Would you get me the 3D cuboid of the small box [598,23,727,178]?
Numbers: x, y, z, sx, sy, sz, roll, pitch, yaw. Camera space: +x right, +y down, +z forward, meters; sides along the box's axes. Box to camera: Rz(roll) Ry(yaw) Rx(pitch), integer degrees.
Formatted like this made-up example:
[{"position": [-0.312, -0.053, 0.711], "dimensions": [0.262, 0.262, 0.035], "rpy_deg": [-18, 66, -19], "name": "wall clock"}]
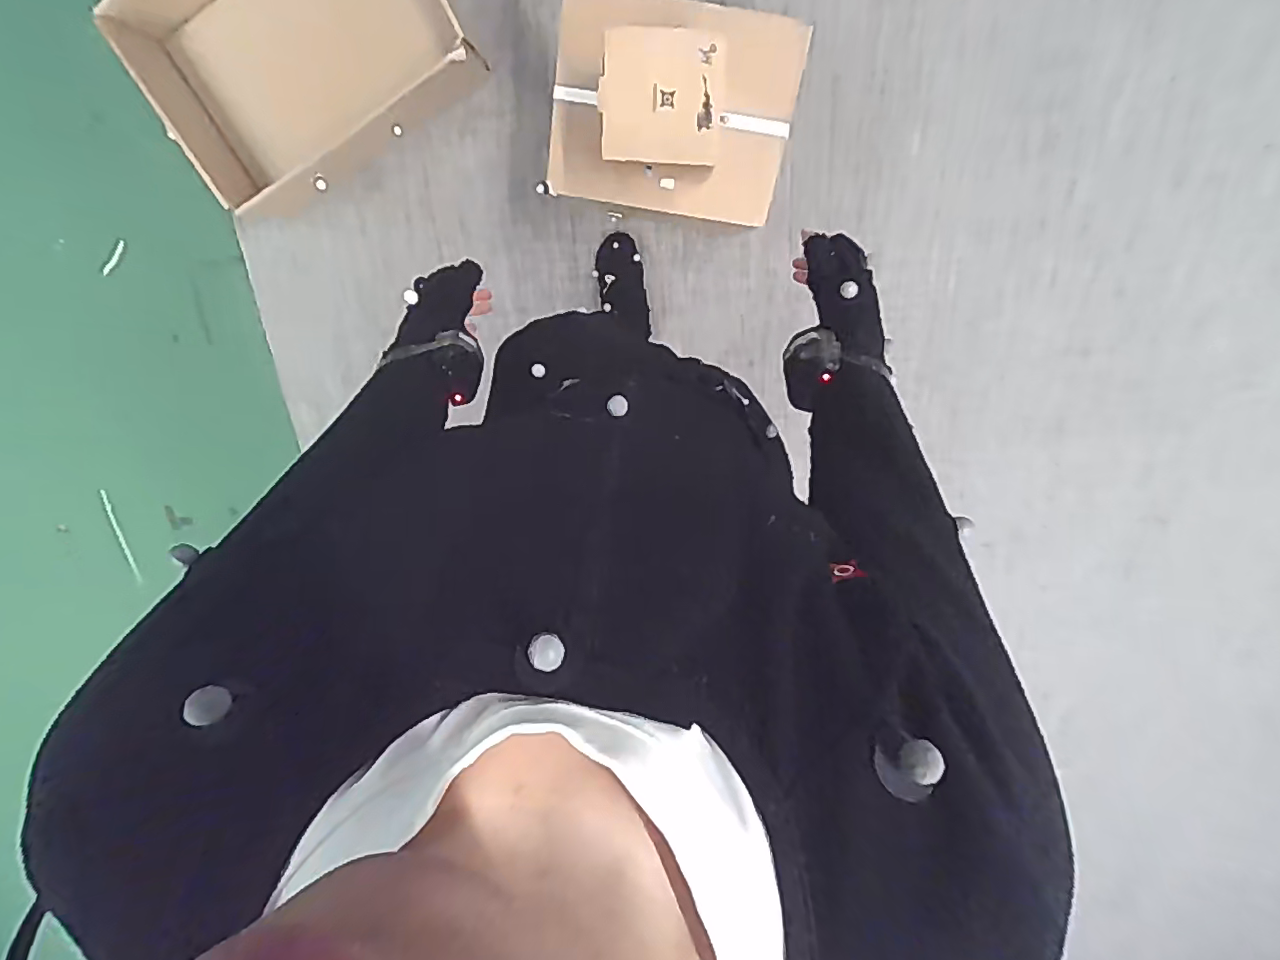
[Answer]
[{"position": [0.035, -0.582, 0.850], "dimensions": [0.179, 0.176, 0.168], "rpy_deg": [5, 113, 2], "name": "small box"}]
